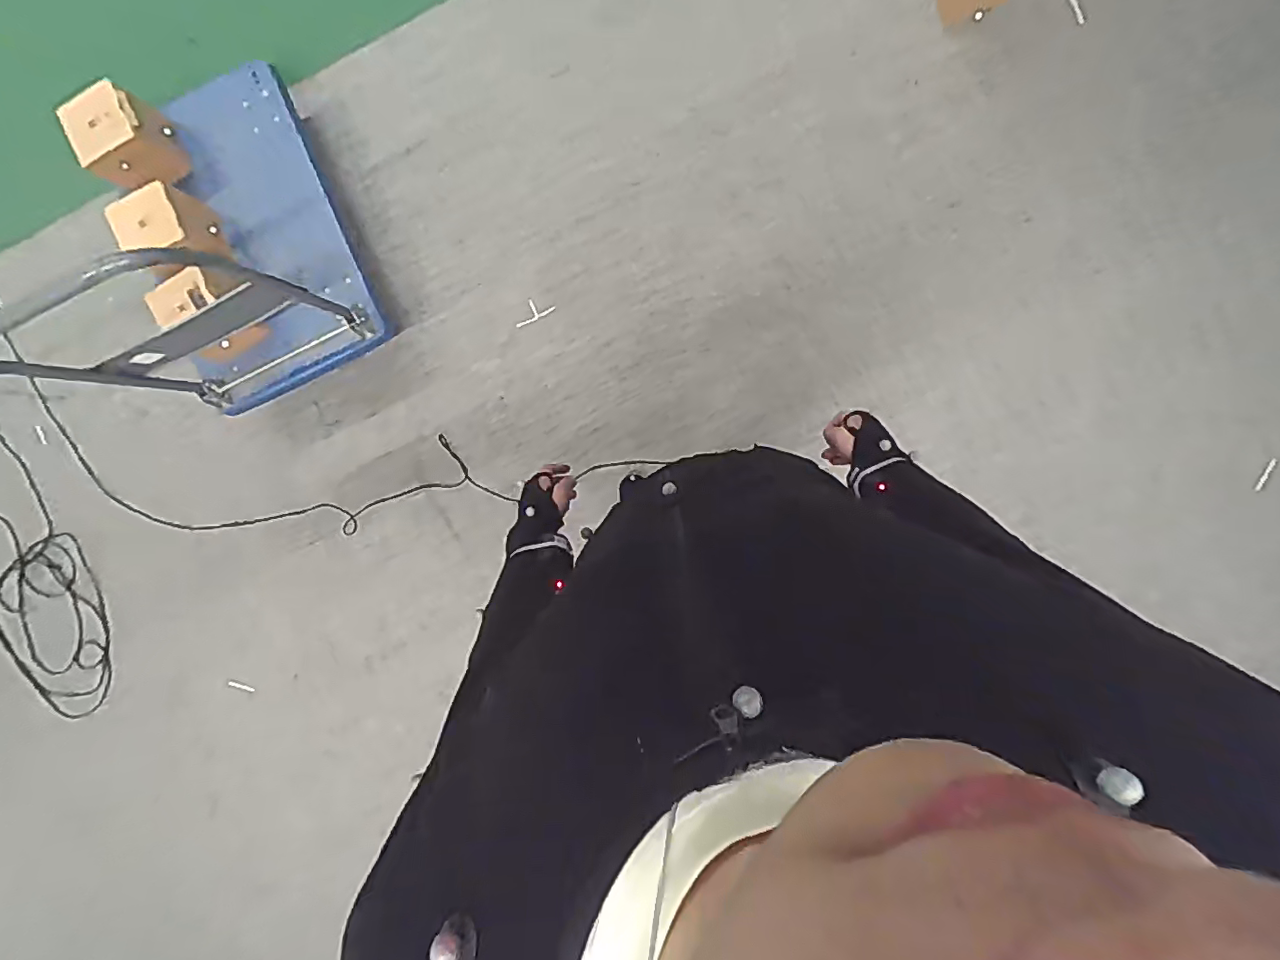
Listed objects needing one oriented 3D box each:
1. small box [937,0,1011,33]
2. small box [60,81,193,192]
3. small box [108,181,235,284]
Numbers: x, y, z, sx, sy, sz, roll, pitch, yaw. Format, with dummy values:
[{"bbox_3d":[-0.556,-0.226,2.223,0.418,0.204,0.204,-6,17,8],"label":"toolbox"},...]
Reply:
[{"bbox_3d":[0.916,-1.373,1.455,0.168,0.176,0.179,-19,90,6],"label":"small box"},{"bbox_3d":[-1.388,-0.920,1.474,0.179,0.176,0.168,-24,91,5],"label":"small box"},{"bbox_3d":[-1.271,-0.666,1.477,0.179,0.176,0.168,-24,90,4],"label":"small box"}]
